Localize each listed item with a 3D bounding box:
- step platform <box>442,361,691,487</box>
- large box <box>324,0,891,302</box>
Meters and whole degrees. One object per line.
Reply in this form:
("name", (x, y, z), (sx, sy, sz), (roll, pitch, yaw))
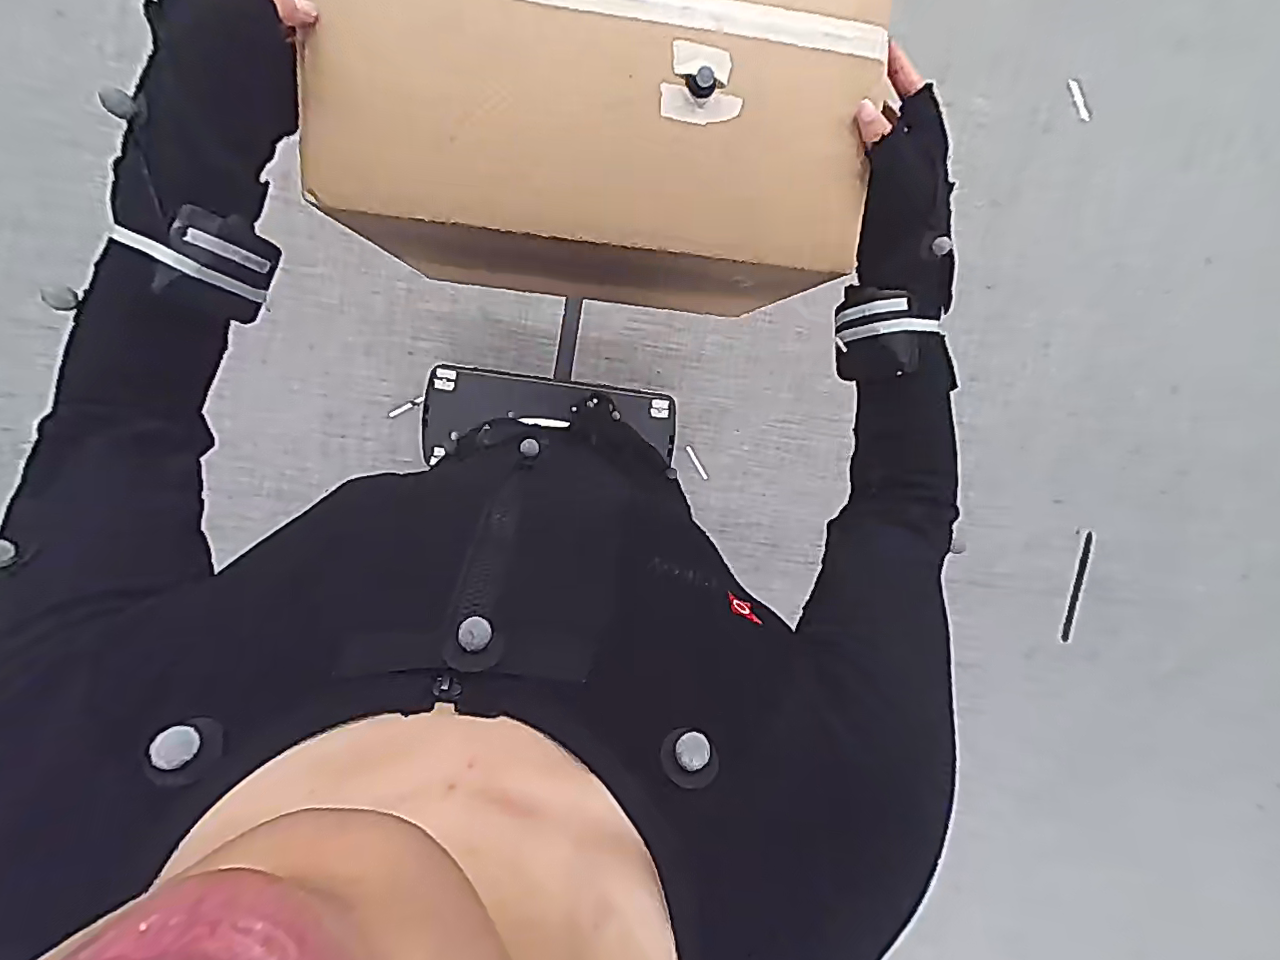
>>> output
("step platform", (-0.199, -0.156, 1.531), (0.684, 0.204, 0.286), (6, 98, -7))
("large box", (-0.032, -0.367, 0.526), (0.408, 0.320, 0.320), (4, 101, -7))
